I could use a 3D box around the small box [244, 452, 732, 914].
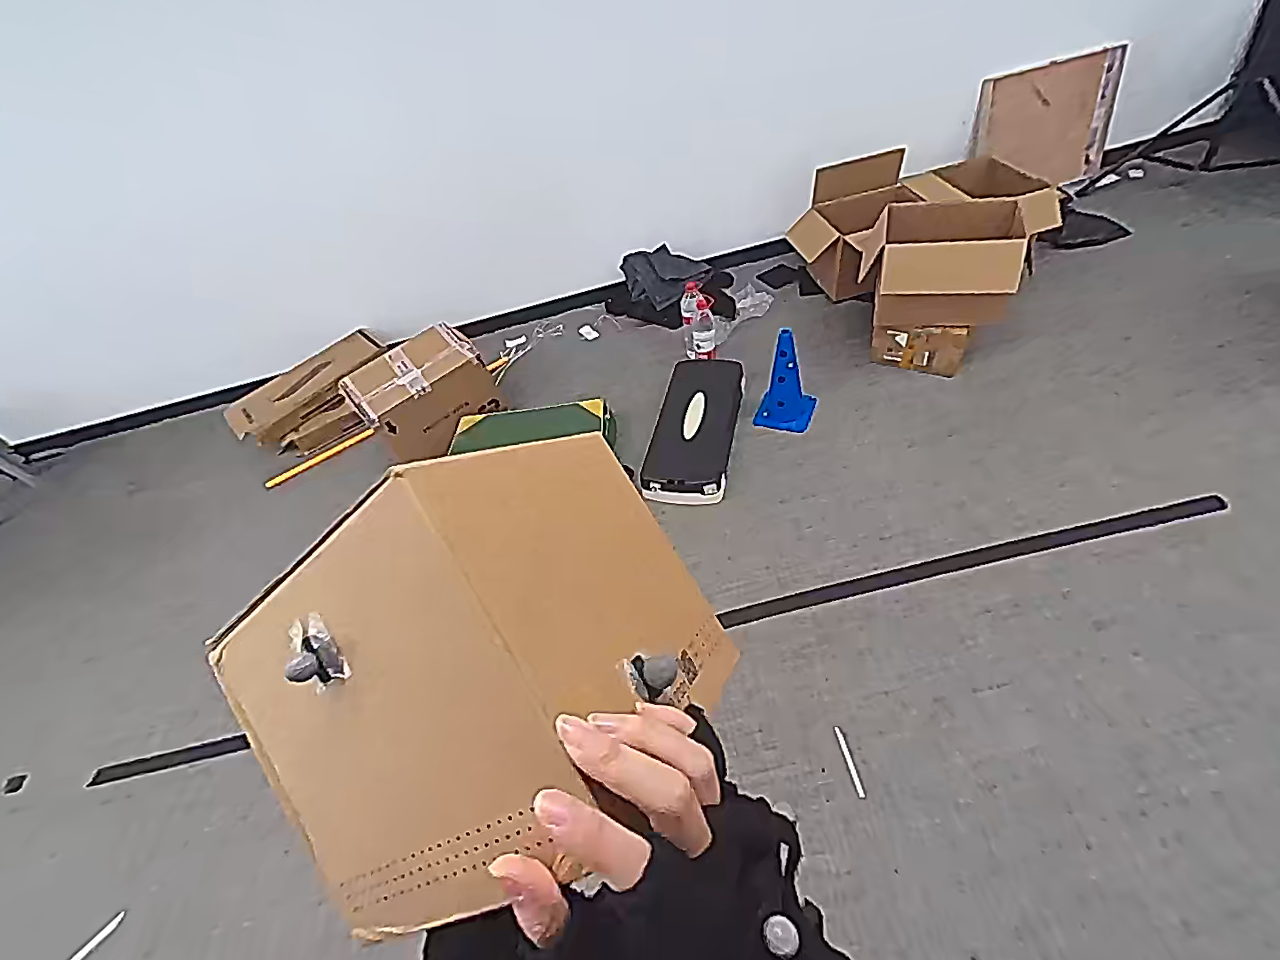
[{"bbox_3d":[-0.077,0.107,0.318,0.179,0.168,0.176,-35,85,25],"label":"small box"}]
